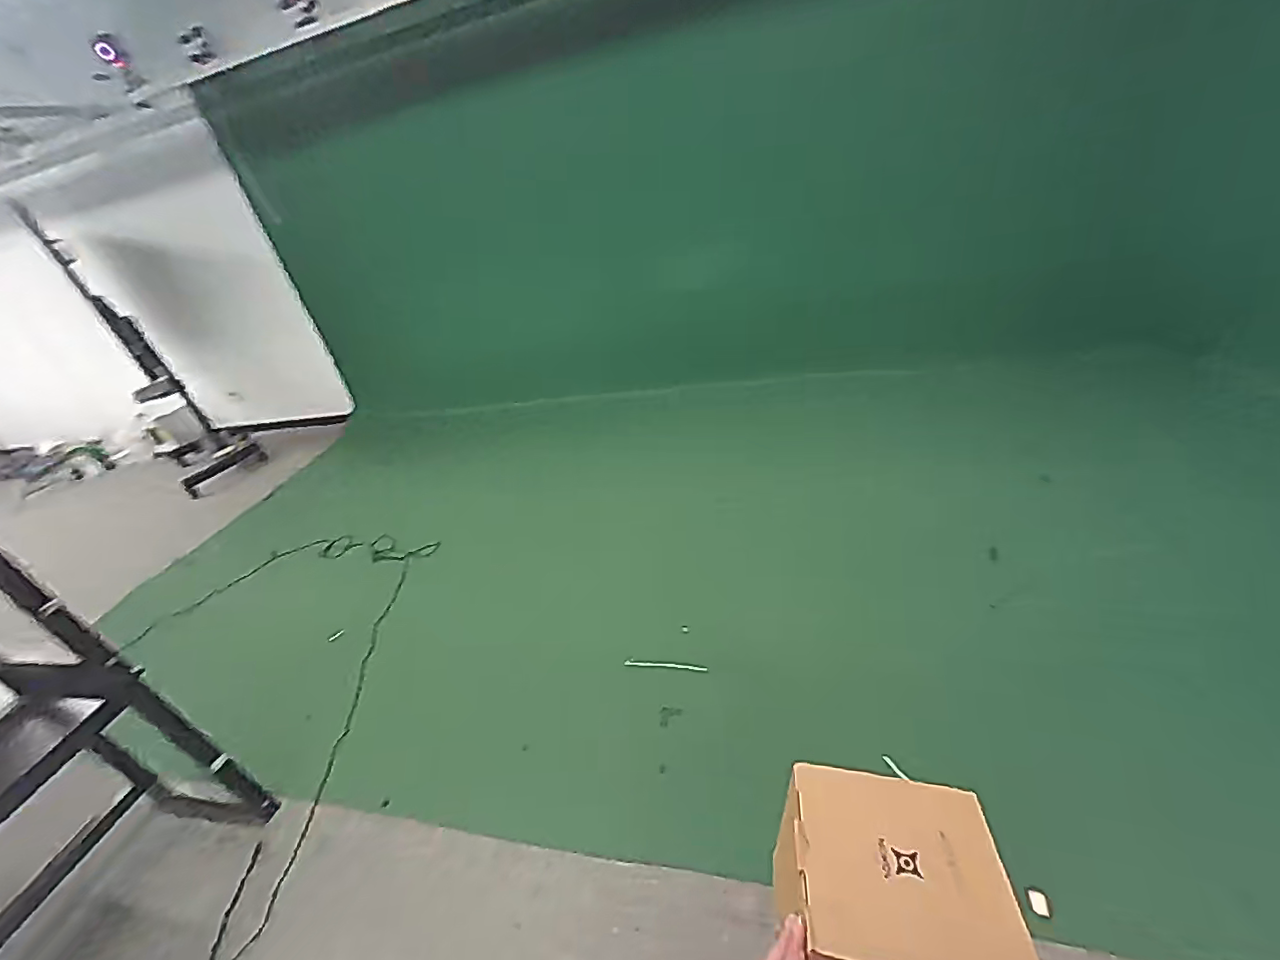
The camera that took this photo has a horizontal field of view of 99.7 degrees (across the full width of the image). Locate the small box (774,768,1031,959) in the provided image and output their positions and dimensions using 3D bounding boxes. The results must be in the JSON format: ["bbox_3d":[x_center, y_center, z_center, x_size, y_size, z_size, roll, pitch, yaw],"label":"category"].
[{"bbox_3d":[0.220,0.408,0.501,0.179,0.176,0.168,5,26,9],"label":"small box"}]
